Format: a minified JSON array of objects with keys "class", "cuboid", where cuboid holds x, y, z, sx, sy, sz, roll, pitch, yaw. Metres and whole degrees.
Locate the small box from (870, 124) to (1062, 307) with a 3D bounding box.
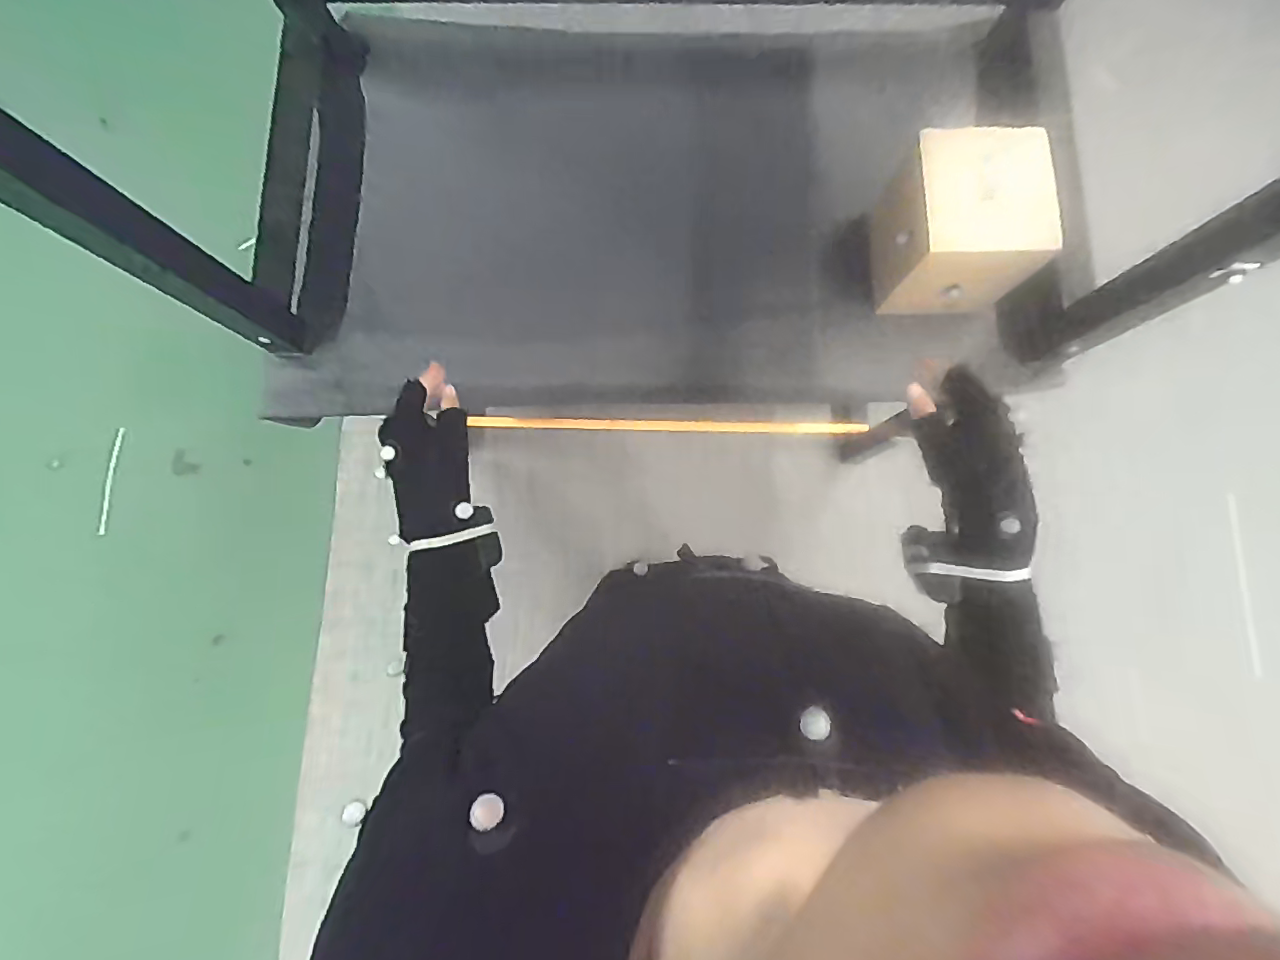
[{"class":"small box","cuboid":[0.441,-0.357,0.760,0.168,0.176,0.179,-1,81,1]}]
